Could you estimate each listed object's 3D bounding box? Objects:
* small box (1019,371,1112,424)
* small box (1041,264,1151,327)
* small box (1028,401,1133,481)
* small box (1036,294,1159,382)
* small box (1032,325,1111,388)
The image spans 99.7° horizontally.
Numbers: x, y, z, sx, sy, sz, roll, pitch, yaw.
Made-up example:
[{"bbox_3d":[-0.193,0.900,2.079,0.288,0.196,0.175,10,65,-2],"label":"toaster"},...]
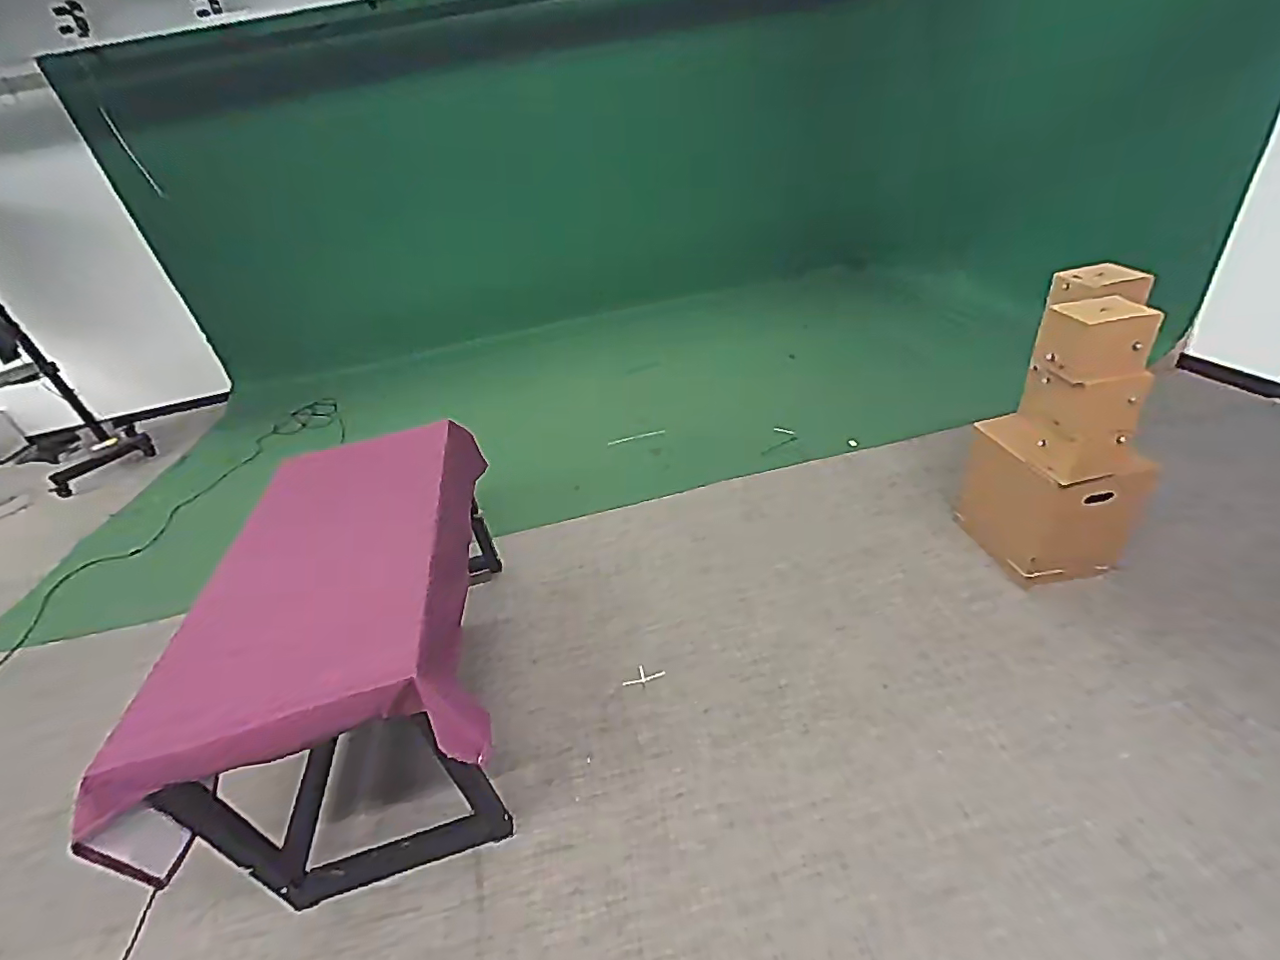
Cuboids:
[{"bbox_3d":[1.426,-0.268,1.826,0.168,0.176,0.179,-8,34,5],"label":"small box"},{"bbox_3d":[1.381,-0.545,1.652,0.179,0.176,0.168,-10,33,1],"label":"small box"},{"bbox_3d":[1.312,-0.114,1.629,0.179,0.176,0.168,-12,33,-2],"label":"small box"},{"bbox_3d":[1.222,-0.382,1.460,0.179,0.176,0.168,-9,33,5],"label":"small box"},{"bbox_3d":[1.401,-0.406,1.739,0.179,0.176,0.168,-6,34,6],"label":"small box"}]
